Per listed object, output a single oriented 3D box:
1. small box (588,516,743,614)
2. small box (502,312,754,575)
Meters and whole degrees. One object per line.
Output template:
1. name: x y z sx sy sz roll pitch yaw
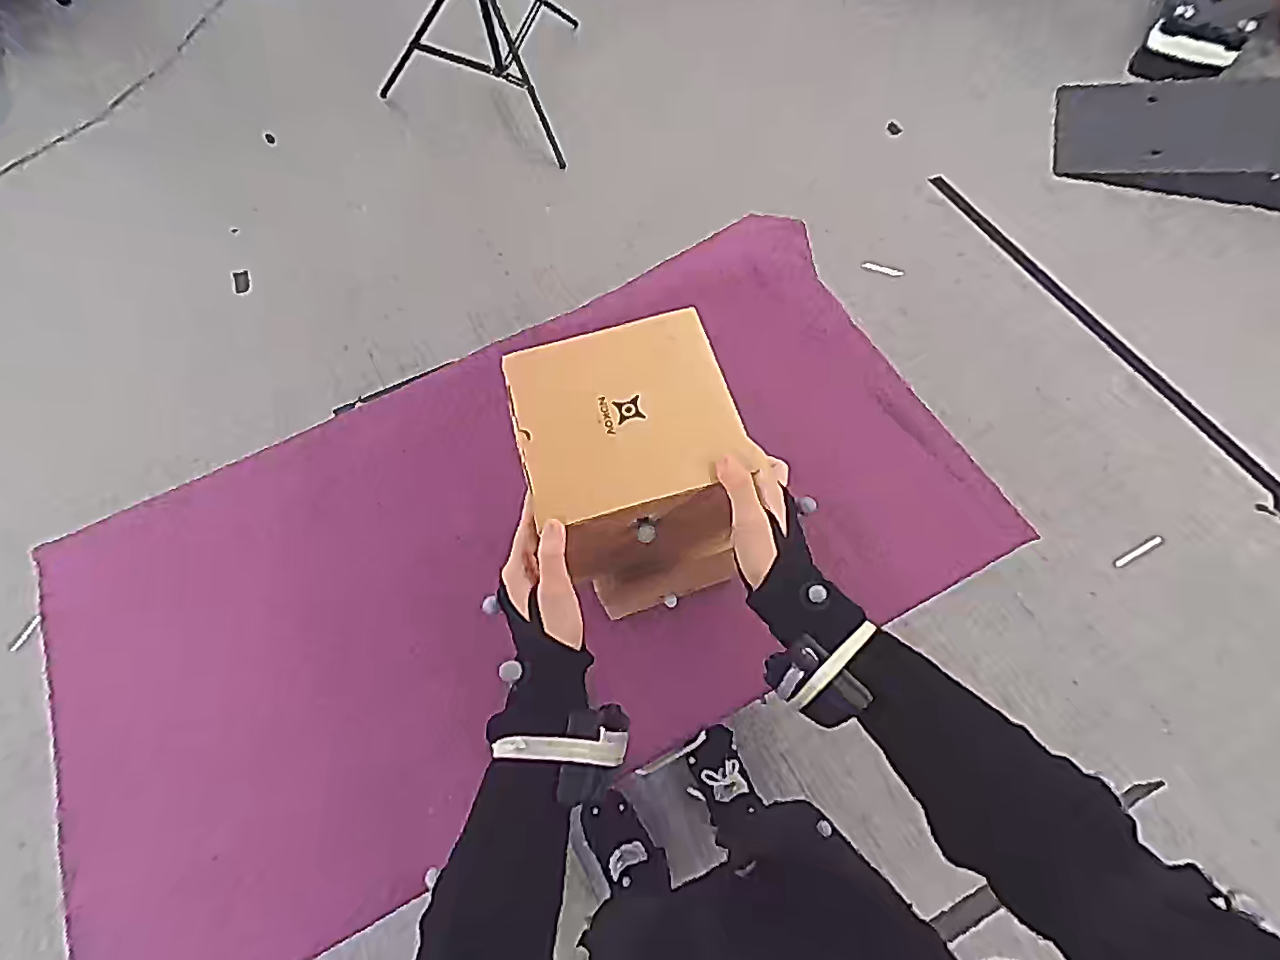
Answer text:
1. small box: 0.008 0.046 0.656 0.168 0.176 0.179 -18 68 -4
2. small box: -0.011 -0.023 0.511 0.179 0.176 0.168 -16 68 -2
